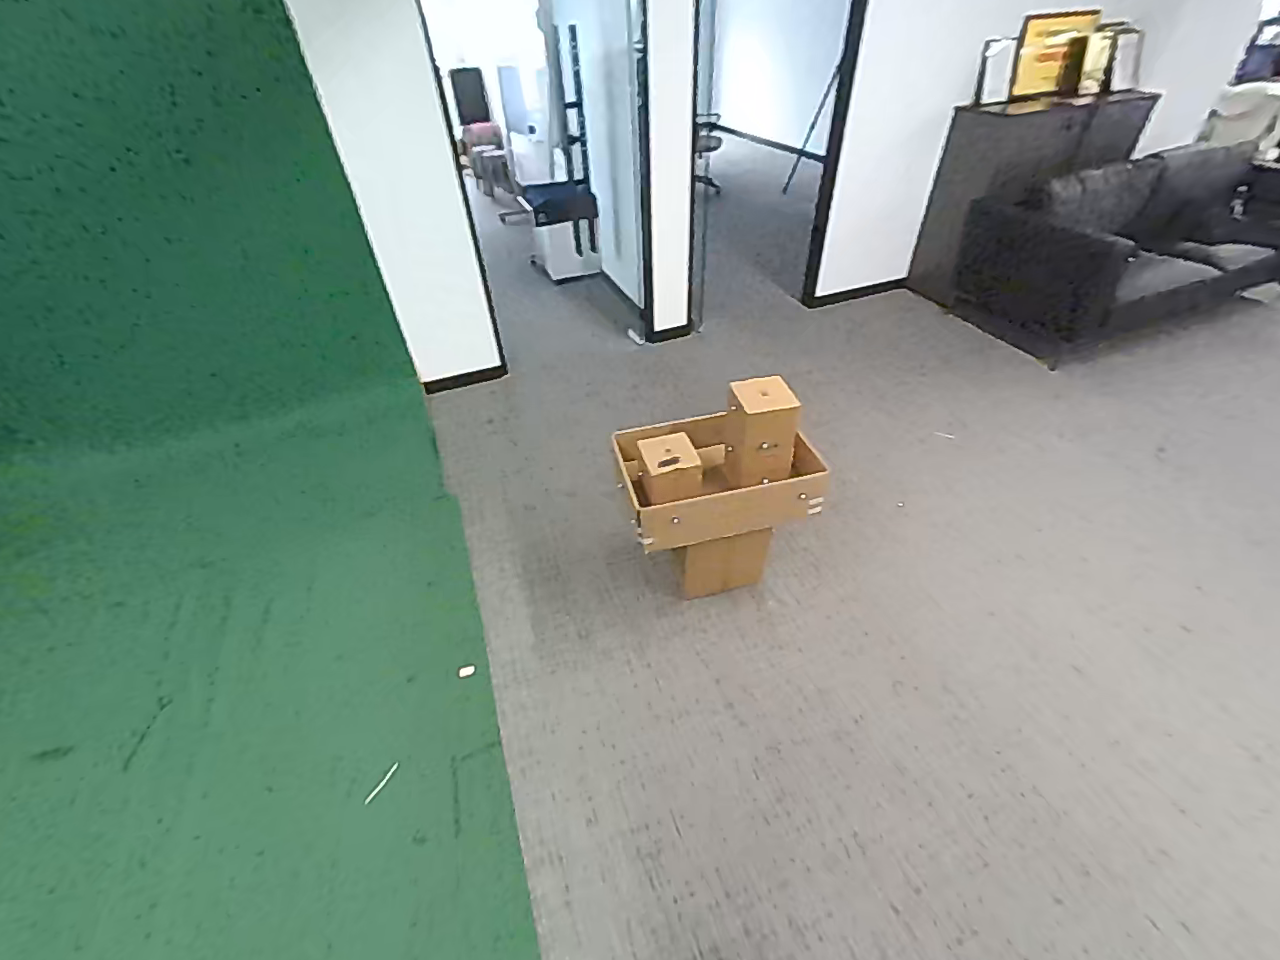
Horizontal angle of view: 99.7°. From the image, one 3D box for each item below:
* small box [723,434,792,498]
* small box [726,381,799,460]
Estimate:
[{"bbox_3d":[0.379,-0.064,1.784,0.168,0.176,0.179,-8,42,-6],"label":"small box"},{"bbox_3d":[0.371,-0.185,1.675,0.168,0.176,0.179,-9,42,-7],"label":"small box"}]
